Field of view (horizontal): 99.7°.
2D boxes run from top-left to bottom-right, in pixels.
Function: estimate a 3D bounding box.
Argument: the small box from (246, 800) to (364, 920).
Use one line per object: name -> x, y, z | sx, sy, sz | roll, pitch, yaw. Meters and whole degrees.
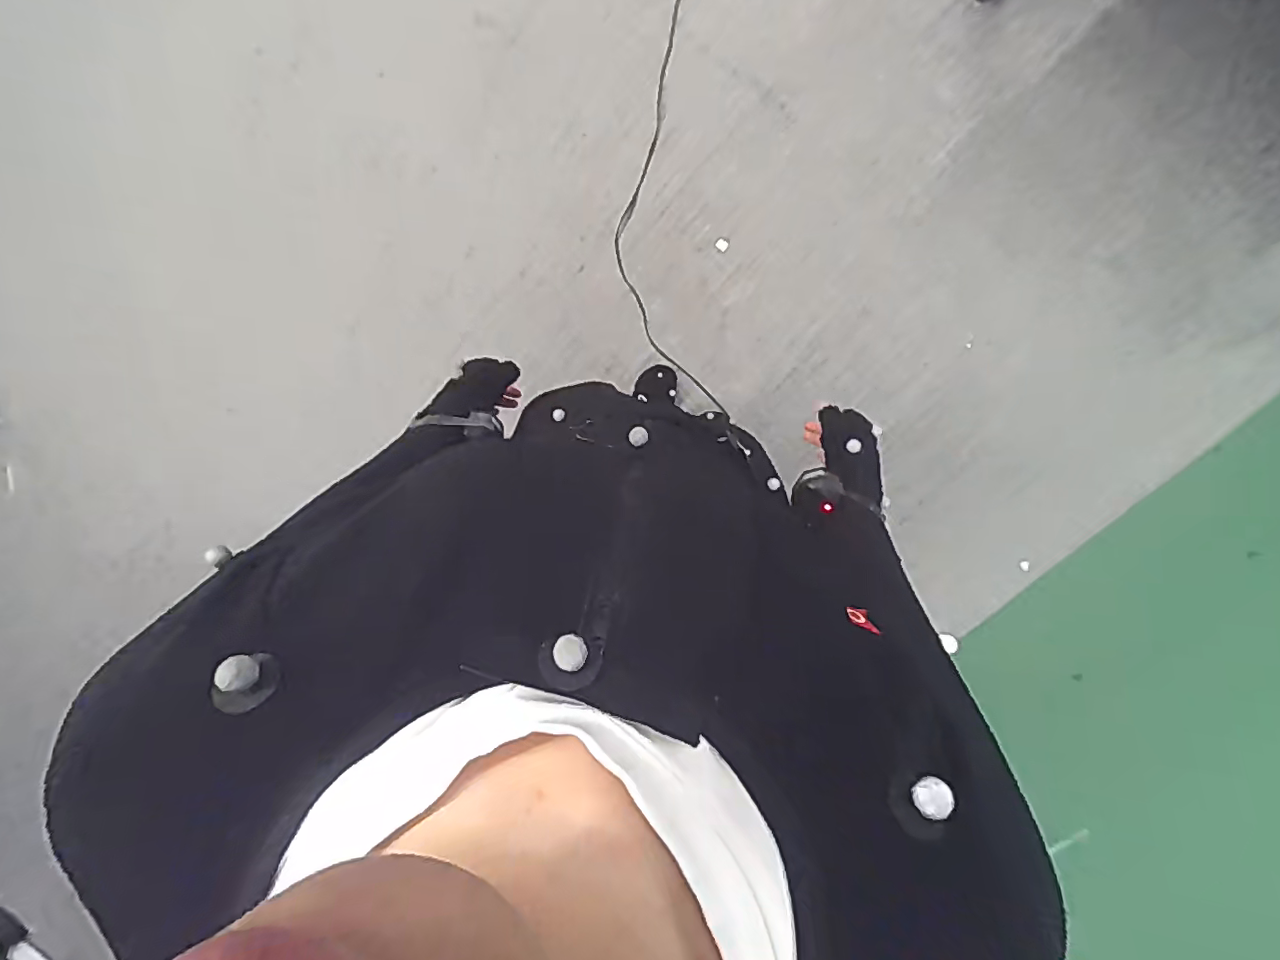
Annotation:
small box -> -0.770, 0.882, 1.233 | 0.179, 0.176, 0.168 | -42, 92, 15
